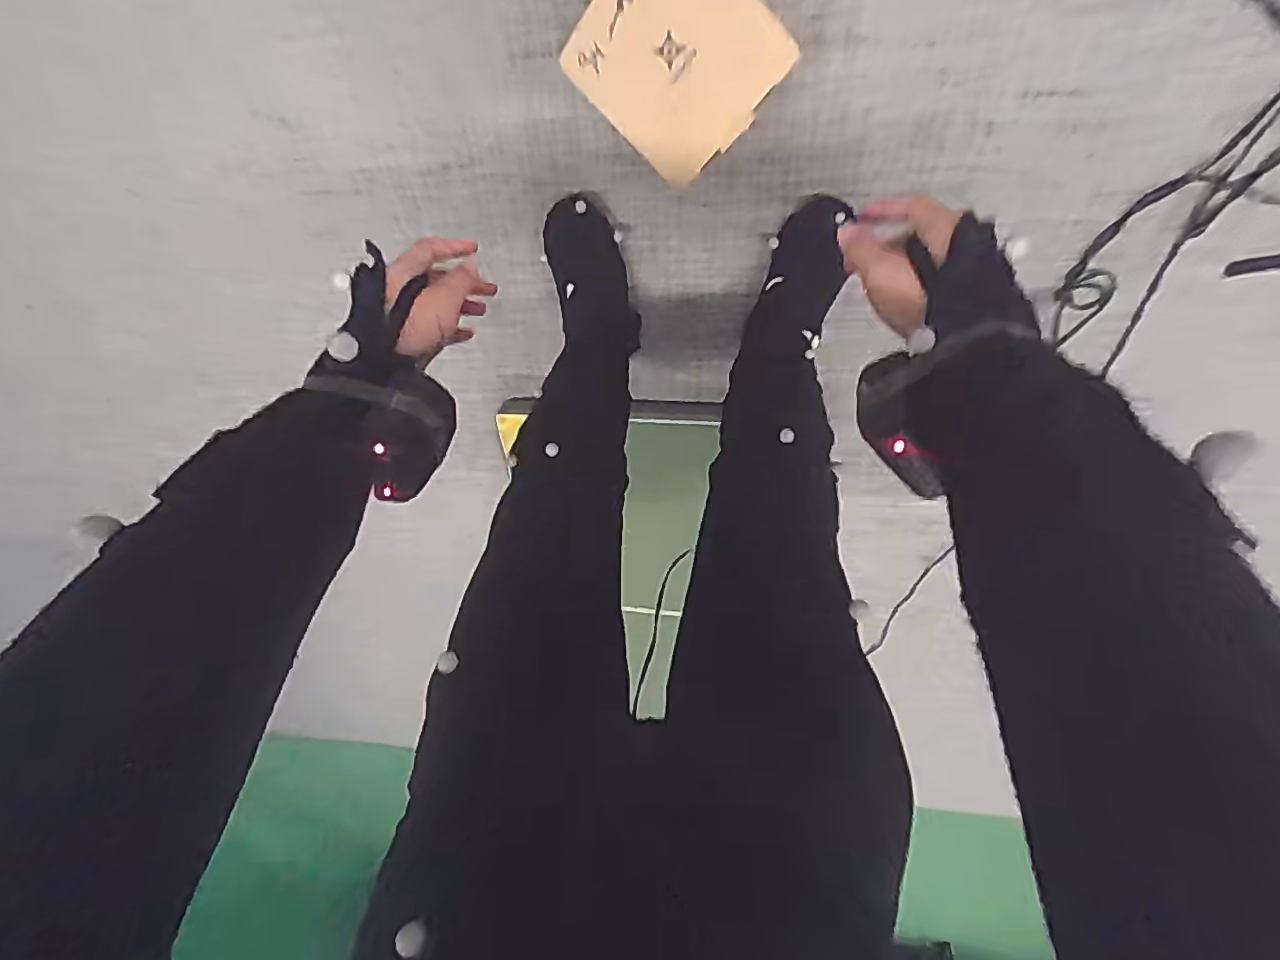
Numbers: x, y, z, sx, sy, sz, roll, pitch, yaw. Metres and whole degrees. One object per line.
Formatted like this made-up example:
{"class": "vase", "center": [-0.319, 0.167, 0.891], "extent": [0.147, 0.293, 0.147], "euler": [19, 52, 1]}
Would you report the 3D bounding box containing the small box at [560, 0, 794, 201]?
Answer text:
{"class": "small box", "center": [0.045, -0.453, 0.589], "extent": [0.179, 0.176, 0.168], "euler": [37, 128, -22]}
